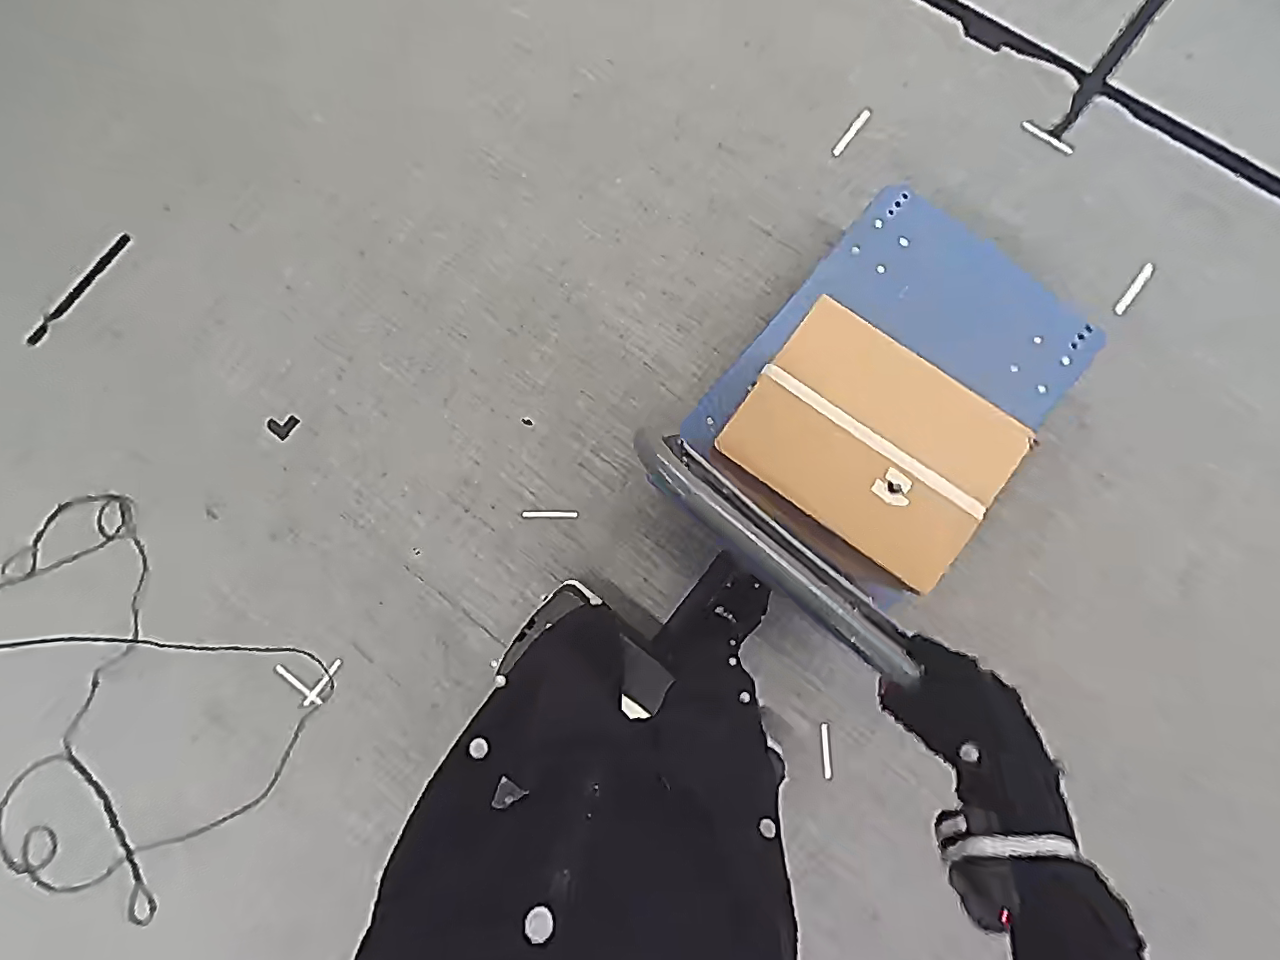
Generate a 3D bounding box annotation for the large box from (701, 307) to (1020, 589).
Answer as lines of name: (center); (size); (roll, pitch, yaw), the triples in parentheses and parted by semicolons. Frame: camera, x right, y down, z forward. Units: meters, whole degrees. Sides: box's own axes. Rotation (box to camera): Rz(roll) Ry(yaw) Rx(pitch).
large box: (0.372, -0.045, 1.029); (0.408, 0.320, 0.320); (36, 88, 5)
